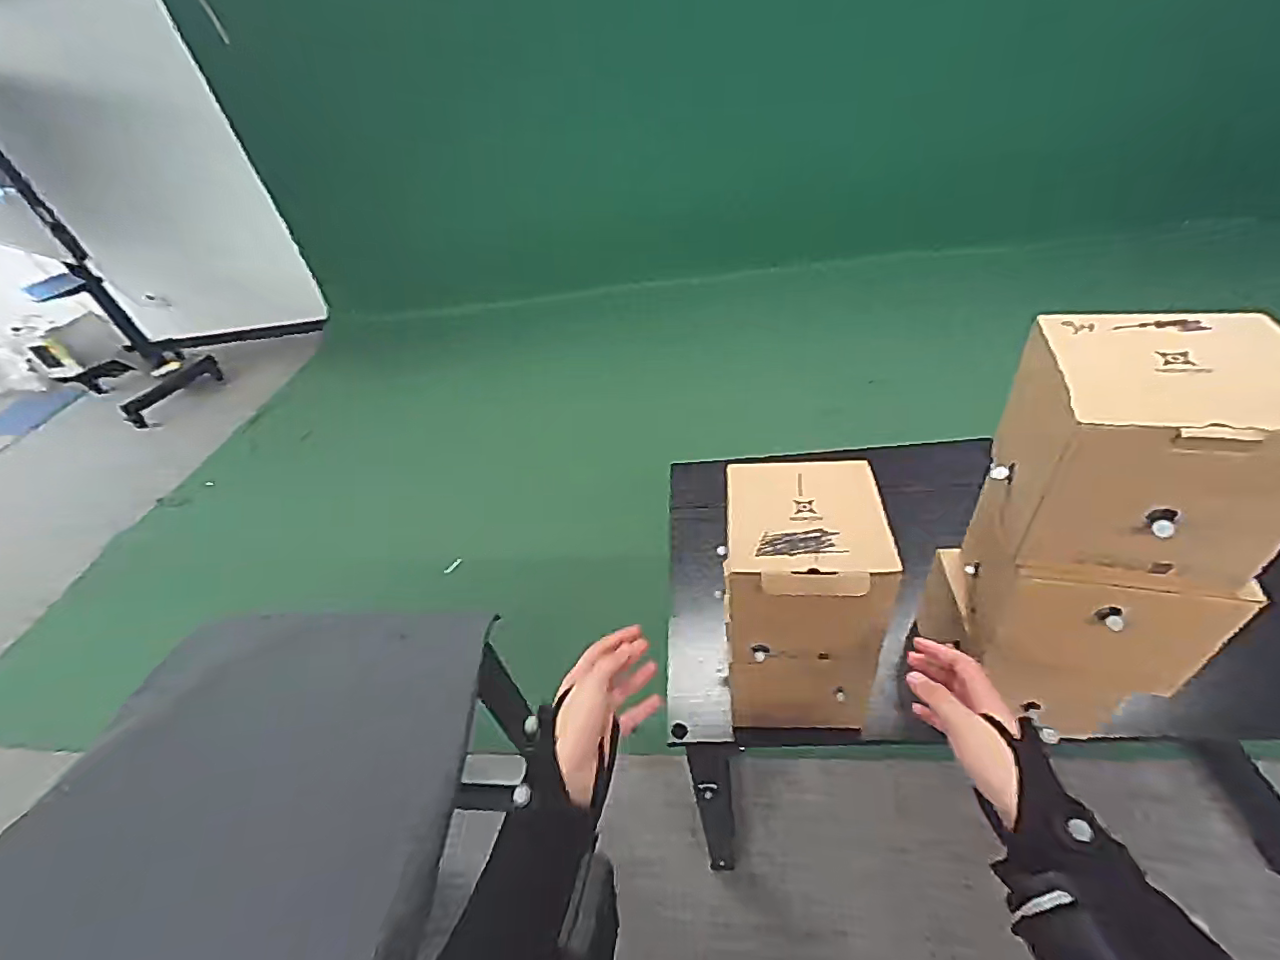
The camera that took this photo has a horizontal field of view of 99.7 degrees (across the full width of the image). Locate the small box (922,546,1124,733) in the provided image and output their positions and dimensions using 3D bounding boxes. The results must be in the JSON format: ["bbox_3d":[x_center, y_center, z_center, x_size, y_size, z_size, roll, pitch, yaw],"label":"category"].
[{"bbox_3d":[0.483,0.205,0.697,0.168,0.176,0.179,-1,42,11],"label":"small box"}]

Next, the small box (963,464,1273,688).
[{"bbox_3d":[0.470,0.098,0.573,0.179,0.176,0.168,4,44,18],"label":"small box"}]

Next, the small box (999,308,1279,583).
[{"bbox_3d":[0.440,-0.032,0.477,0.168,0.176,0.179,6,45,20],"label":"small box"}]

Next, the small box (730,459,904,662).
[{"bbox_3d":[0.193,0.095,0.637,0.168,0.176,0.179,-1,41,10],"label":"small box"}]
